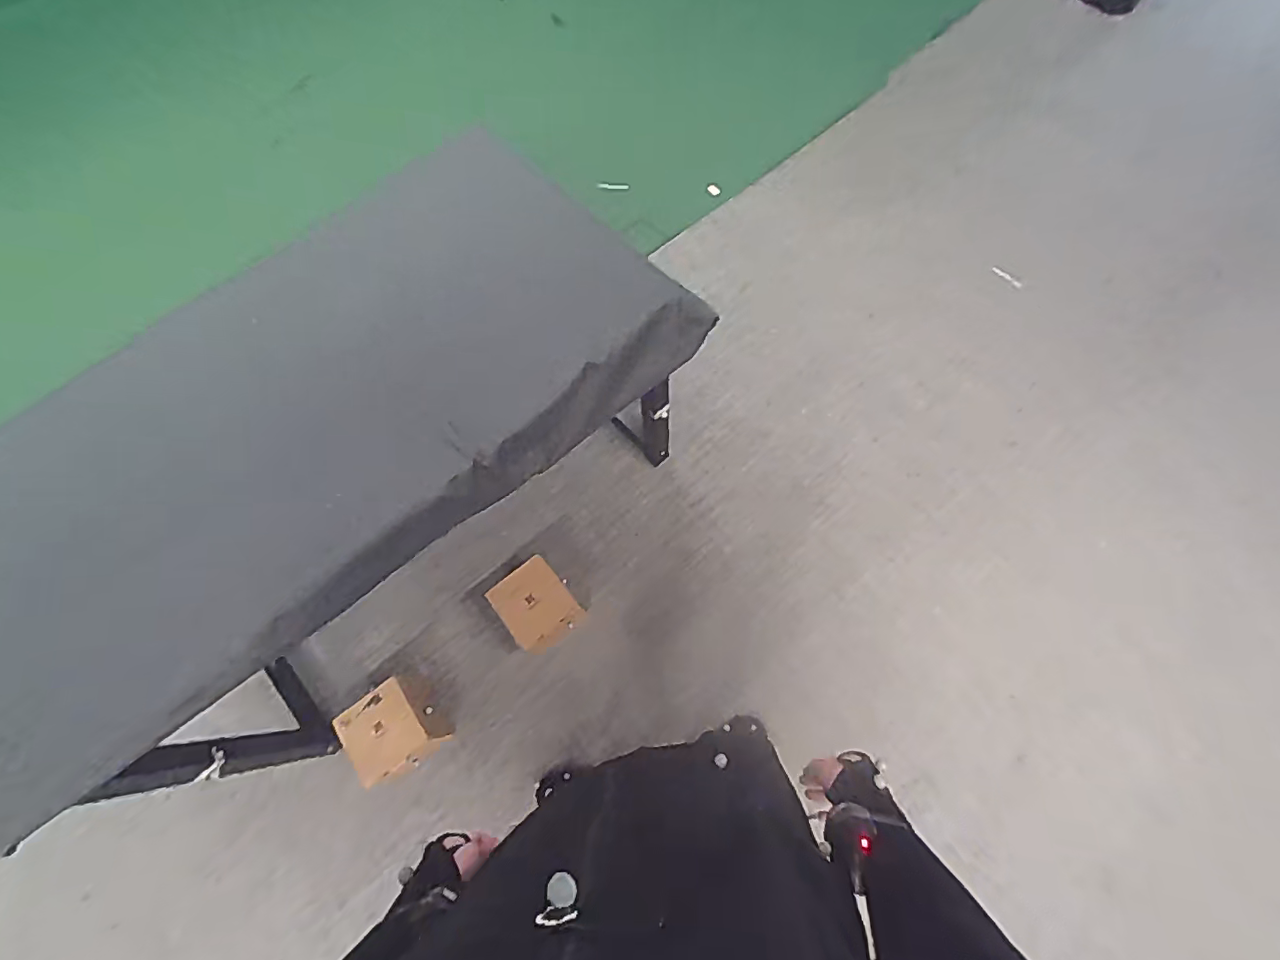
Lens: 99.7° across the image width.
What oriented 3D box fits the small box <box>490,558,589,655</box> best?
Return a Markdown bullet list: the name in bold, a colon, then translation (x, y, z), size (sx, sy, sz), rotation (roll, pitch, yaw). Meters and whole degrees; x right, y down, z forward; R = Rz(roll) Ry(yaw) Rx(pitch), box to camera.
- **small box**: translation (-0.252, 0.333, 1.398), size (0.168, 0.176, 0.179), rotation (-38, 69, -12)
